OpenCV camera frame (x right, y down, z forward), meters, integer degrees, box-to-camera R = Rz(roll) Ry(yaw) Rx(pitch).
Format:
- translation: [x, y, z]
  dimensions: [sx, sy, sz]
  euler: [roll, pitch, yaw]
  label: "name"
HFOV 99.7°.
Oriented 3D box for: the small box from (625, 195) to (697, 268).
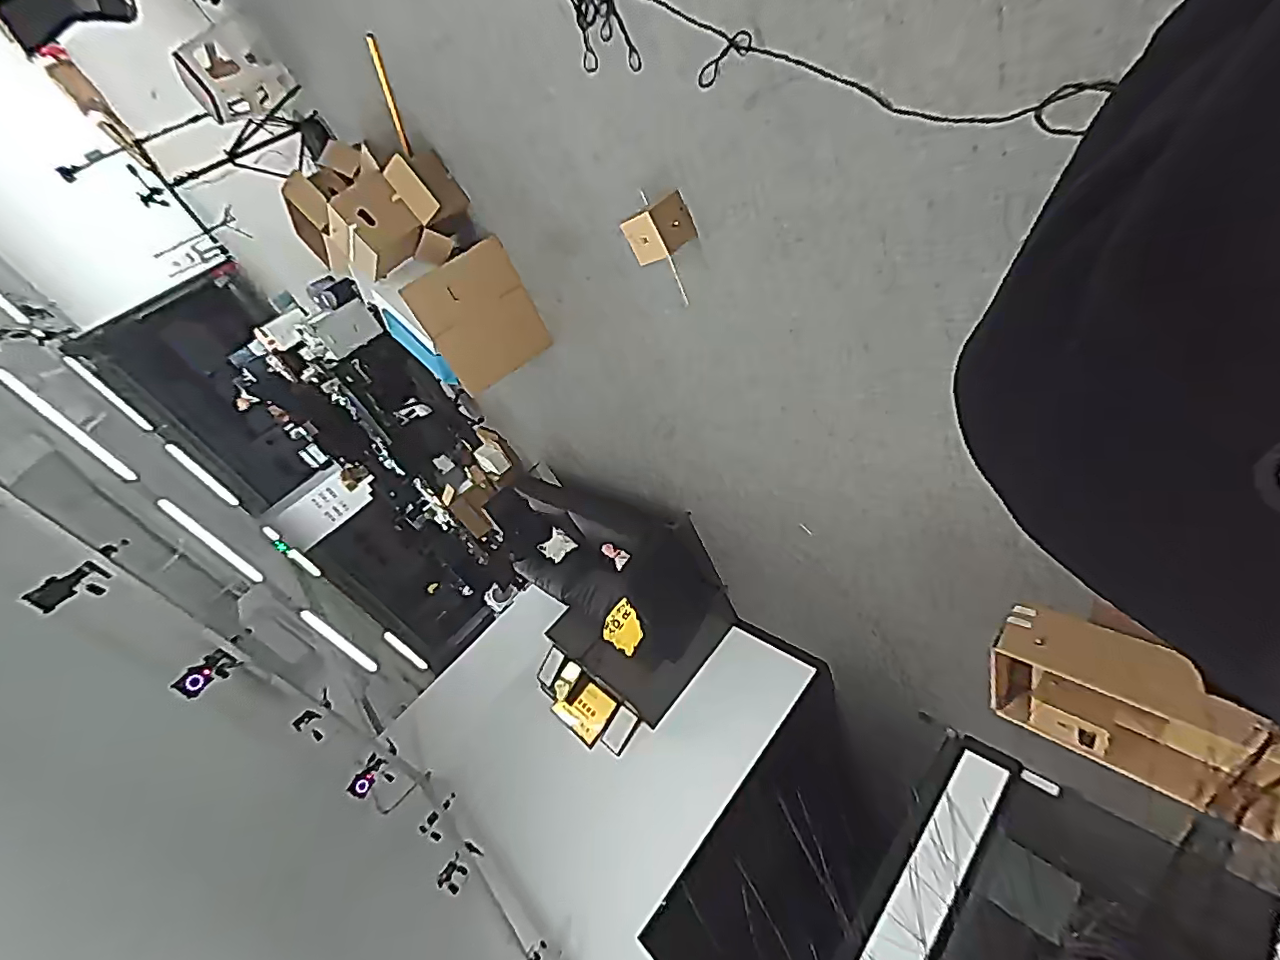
- translation: [0.084, -0.909, 1.977]
  dimensions: [0.179, 0.176, 0.168]
  euler: [12, 141, 54]
  label: "small box"
